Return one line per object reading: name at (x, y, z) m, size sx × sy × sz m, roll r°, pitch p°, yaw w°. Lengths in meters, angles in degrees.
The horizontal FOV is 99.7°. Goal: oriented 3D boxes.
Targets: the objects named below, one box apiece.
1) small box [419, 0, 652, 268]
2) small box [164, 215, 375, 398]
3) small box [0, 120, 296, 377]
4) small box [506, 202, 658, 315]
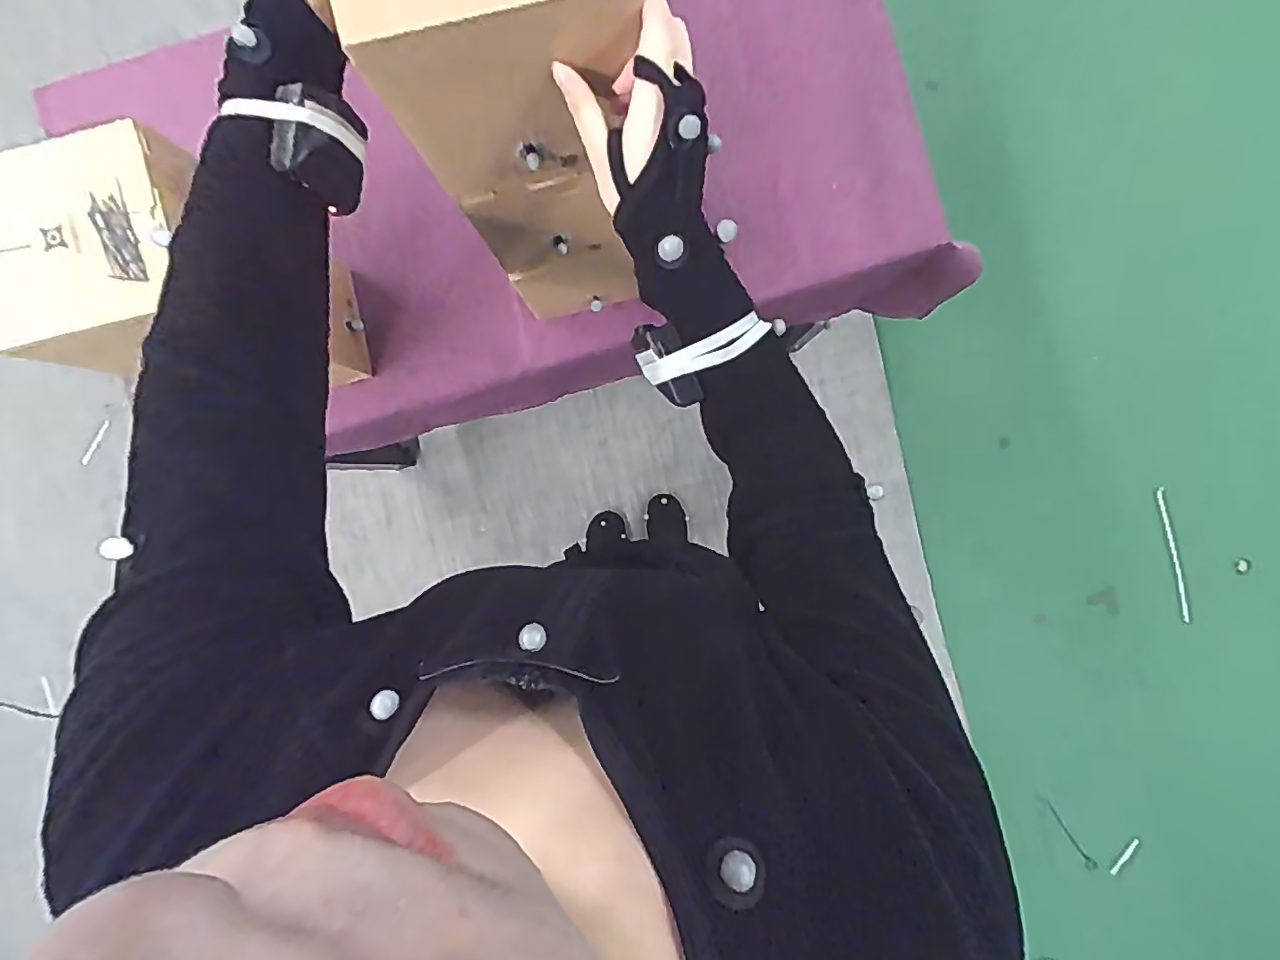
small box at (-0.089, -0.339, 0.533) m, size 0.168 × 0.176 × 0.179 m, roll -14°, pitch 92°, yaw 1°
small box at (-0.486, -0.212, 0.709) m, size 0.179 × 0.176 × 0.168 m, roll -13°, pitch 91°, yaw 1°
small box at (-0.485, -0.212, 0.545) m, size 0.179 × 0.176 × 0.168 m, roll -14°, pitch 91°, yaw 2°
small box at (-0.082, -0.331, 0.697) m, size 0.179 × 0.176 × 0.168 m, roll -14°, pitch 90°, yaw 1°
